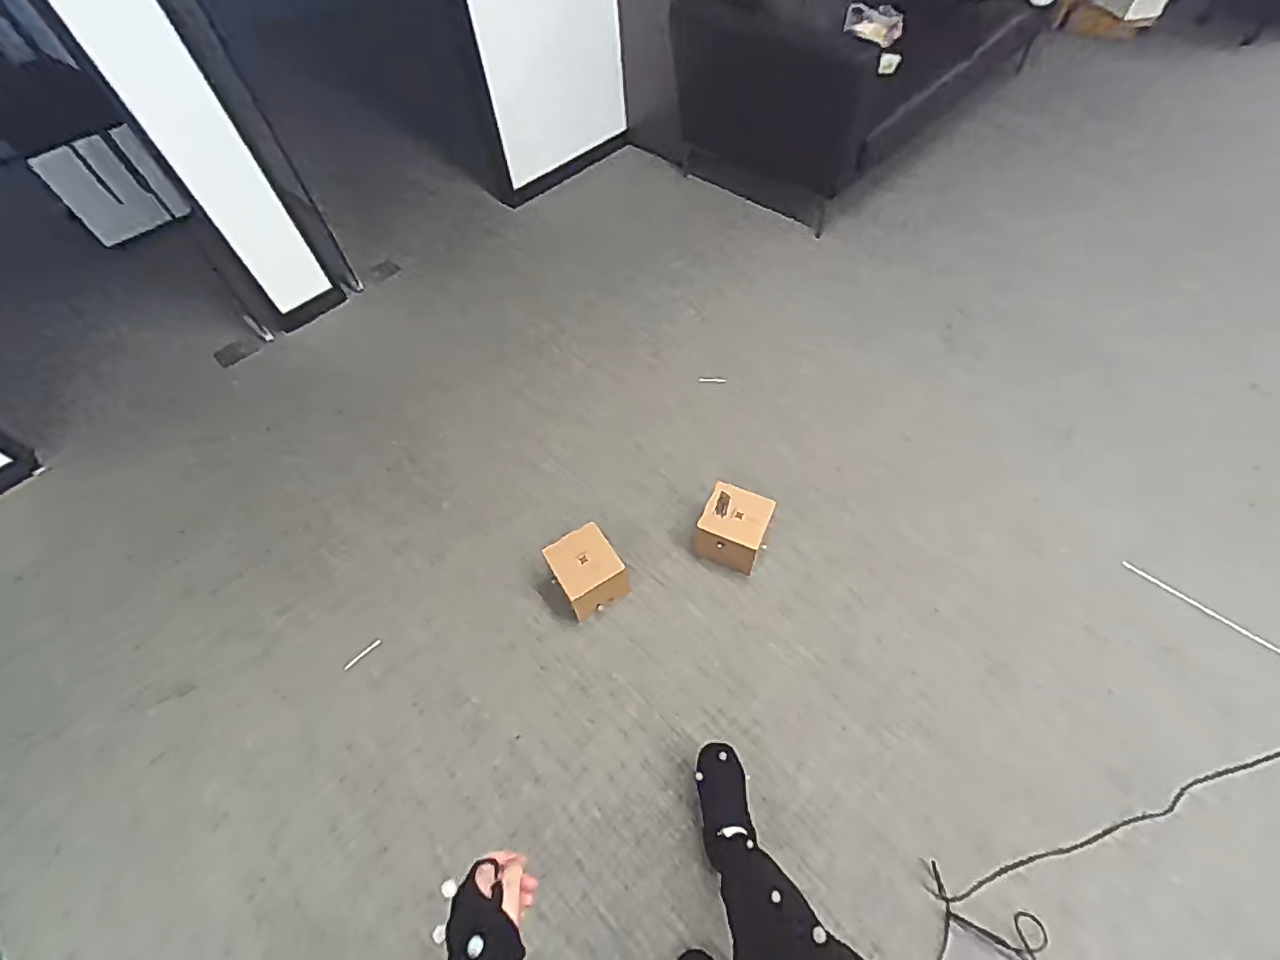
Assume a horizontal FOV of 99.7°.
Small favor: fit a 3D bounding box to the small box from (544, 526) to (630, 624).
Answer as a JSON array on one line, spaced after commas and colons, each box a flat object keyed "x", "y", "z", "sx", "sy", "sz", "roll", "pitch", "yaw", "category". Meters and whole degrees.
[{"x": -0.144, "y": 0.266, "z": 1.495, "sx": 0.168, "sy": 0.176, "sz": 0.179, "roll": -30, "pitch": 58, "yaw": -15, "category": "small box"}]

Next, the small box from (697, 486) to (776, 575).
[{"x": 0.271, "y": 0.150, "z": 1.546, "sx": 0.179, "sy": 0.176, "sz": 0.168, "roll": 20, "pitch": 60, "yaw": 17, "category": "small box"}]
